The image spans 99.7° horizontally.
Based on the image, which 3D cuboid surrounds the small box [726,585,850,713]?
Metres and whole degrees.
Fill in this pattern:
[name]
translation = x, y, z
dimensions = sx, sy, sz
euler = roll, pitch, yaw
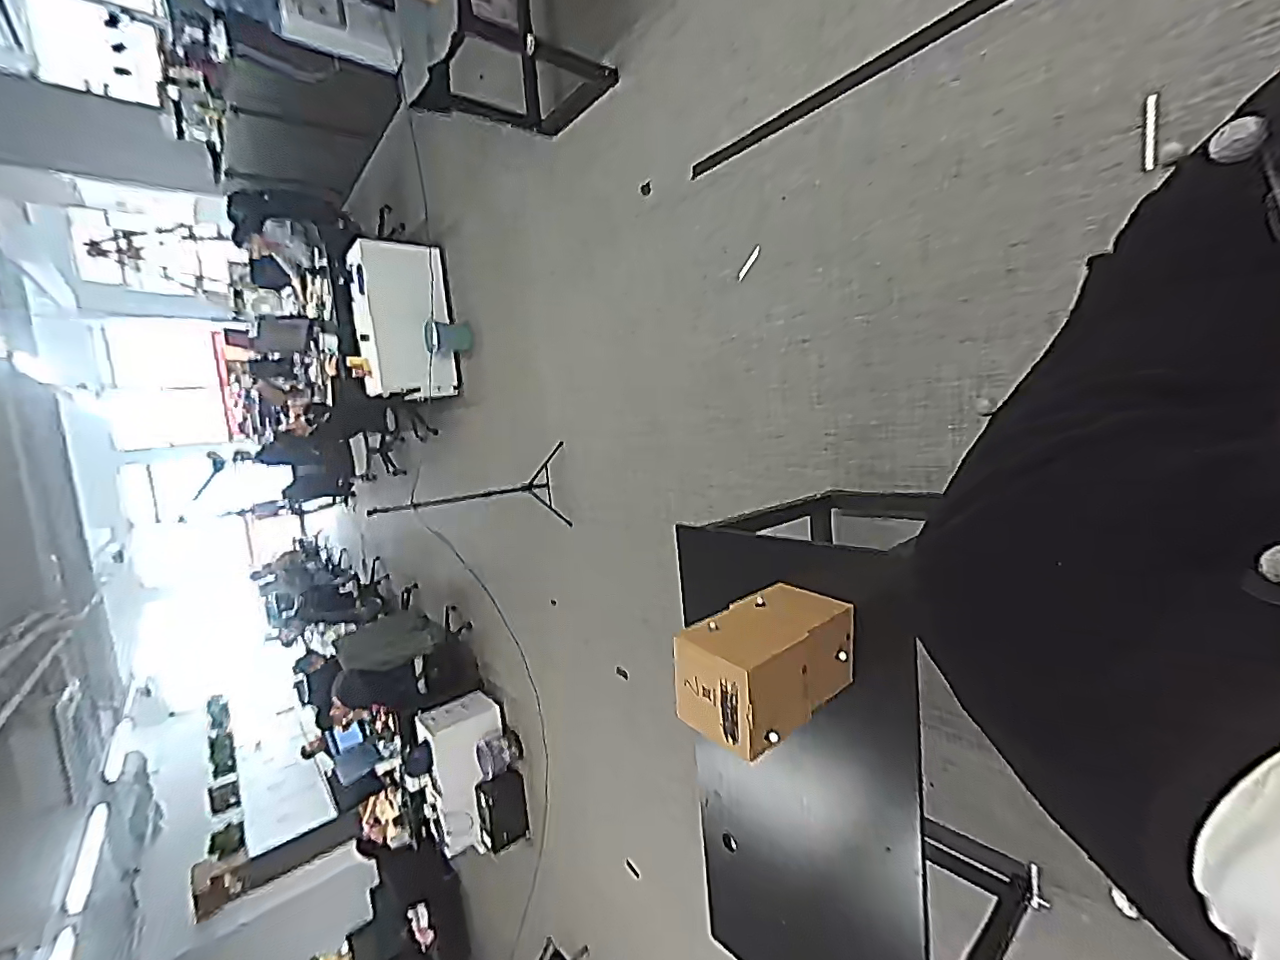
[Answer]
[small box]
translation = 0.291, 0.321, 1.073
dimensions = 0.179, 0.176, 0.168
euler = 10, 108, 50
